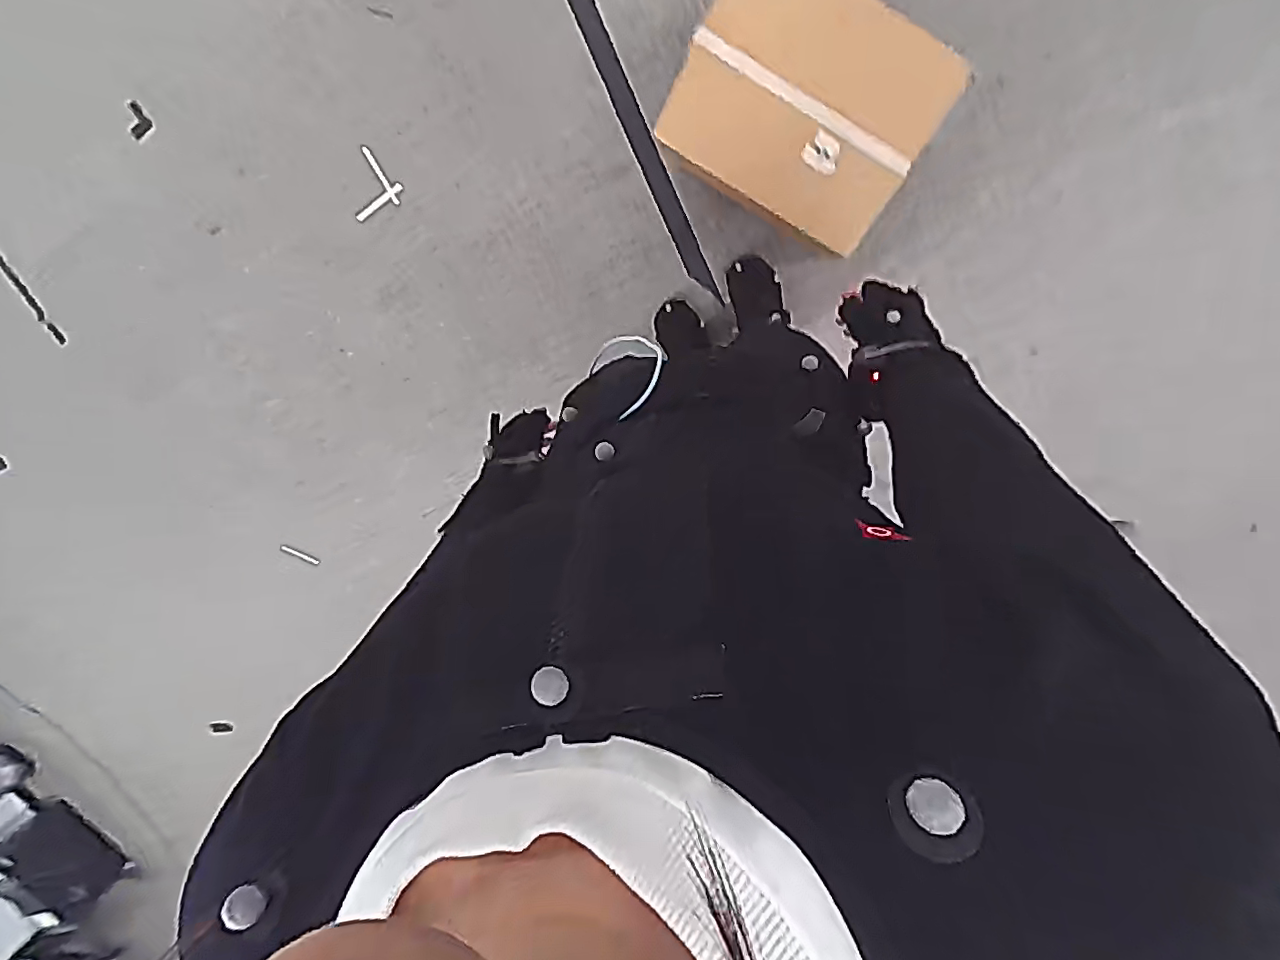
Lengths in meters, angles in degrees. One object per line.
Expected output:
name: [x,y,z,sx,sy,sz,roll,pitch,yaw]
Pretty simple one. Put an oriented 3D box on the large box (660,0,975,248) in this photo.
large box: [0.295,-0.678,1.012,0.408,0.320,0.320,30,116,-4]
